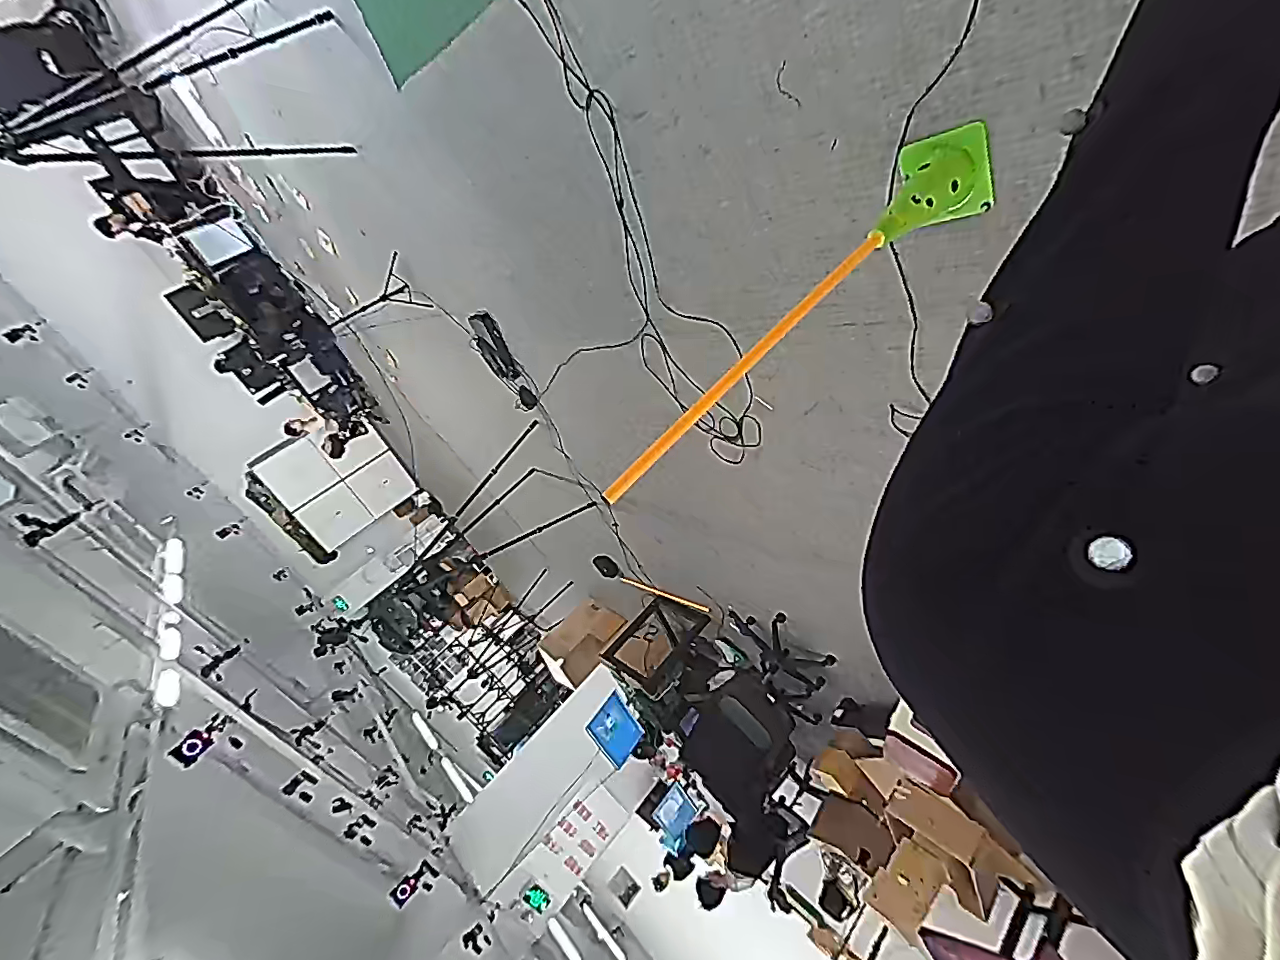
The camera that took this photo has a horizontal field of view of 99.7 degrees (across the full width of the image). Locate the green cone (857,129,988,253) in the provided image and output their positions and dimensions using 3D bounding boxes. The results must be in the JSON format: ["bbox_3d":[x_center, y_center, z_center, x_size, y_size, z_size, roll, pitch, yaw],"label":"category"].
[{"bbox_3d":[0.623,-0.632,1.263,0.202,0.368,0.200,13,138,52],"label":"green cone"}]
